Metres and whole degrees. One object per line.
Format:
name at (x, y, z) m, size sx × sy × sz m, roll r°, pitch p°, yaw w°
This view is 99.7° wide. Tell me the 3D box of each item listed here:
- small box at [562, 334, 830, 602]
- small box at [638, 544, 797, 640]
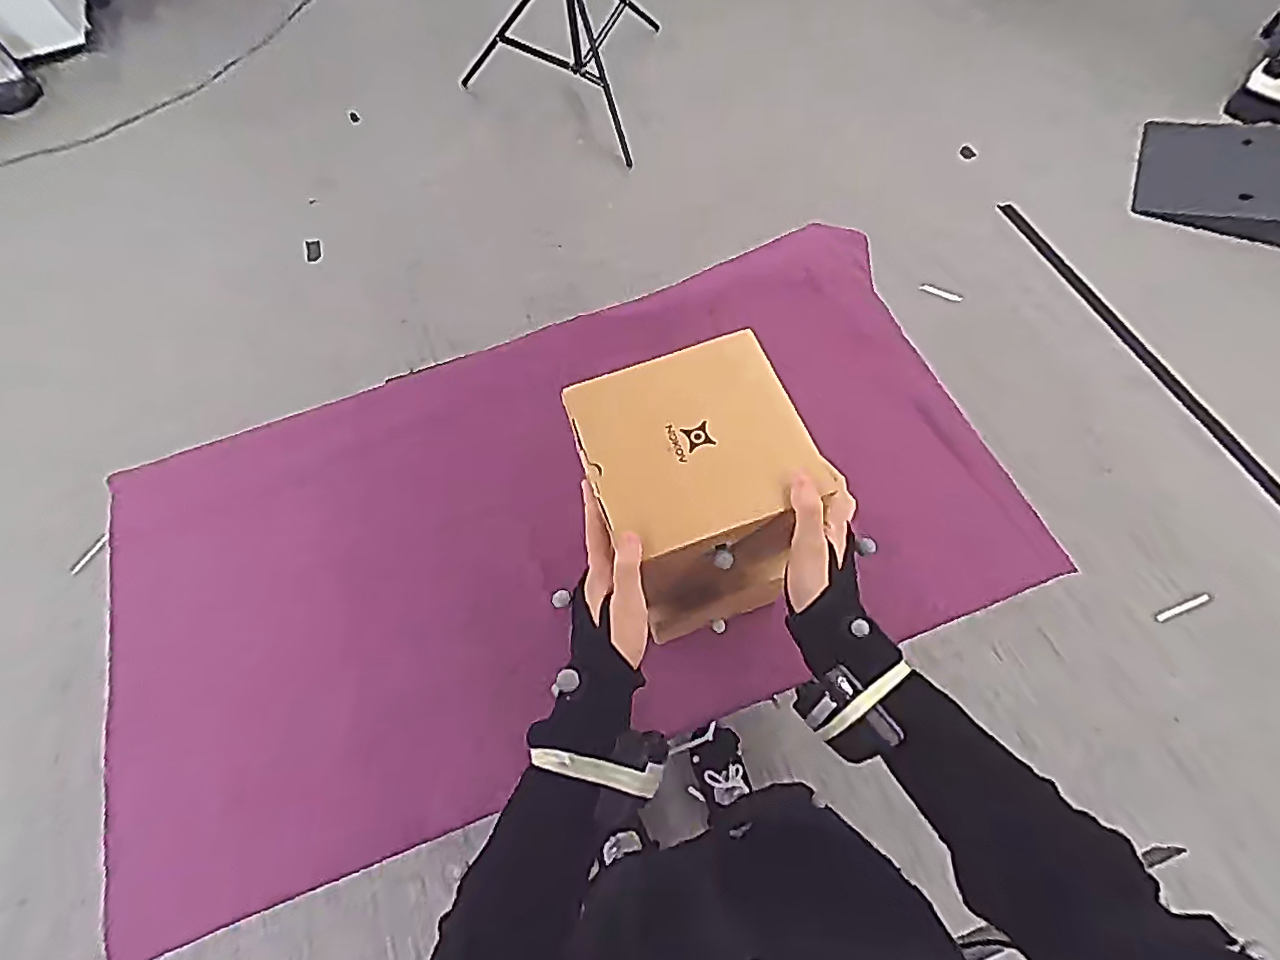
small box at (0.044, 0.000, 0.508) m, size 0.179 × 0.176 × 0.168 m, roll -19°, pitch 67°, yaw -4°
small box at (0.062, 0.075, 0.651) m, size 0.168 × 0.176 × 0.179 m, roll -18°, pitch 67°, yaw -4°
